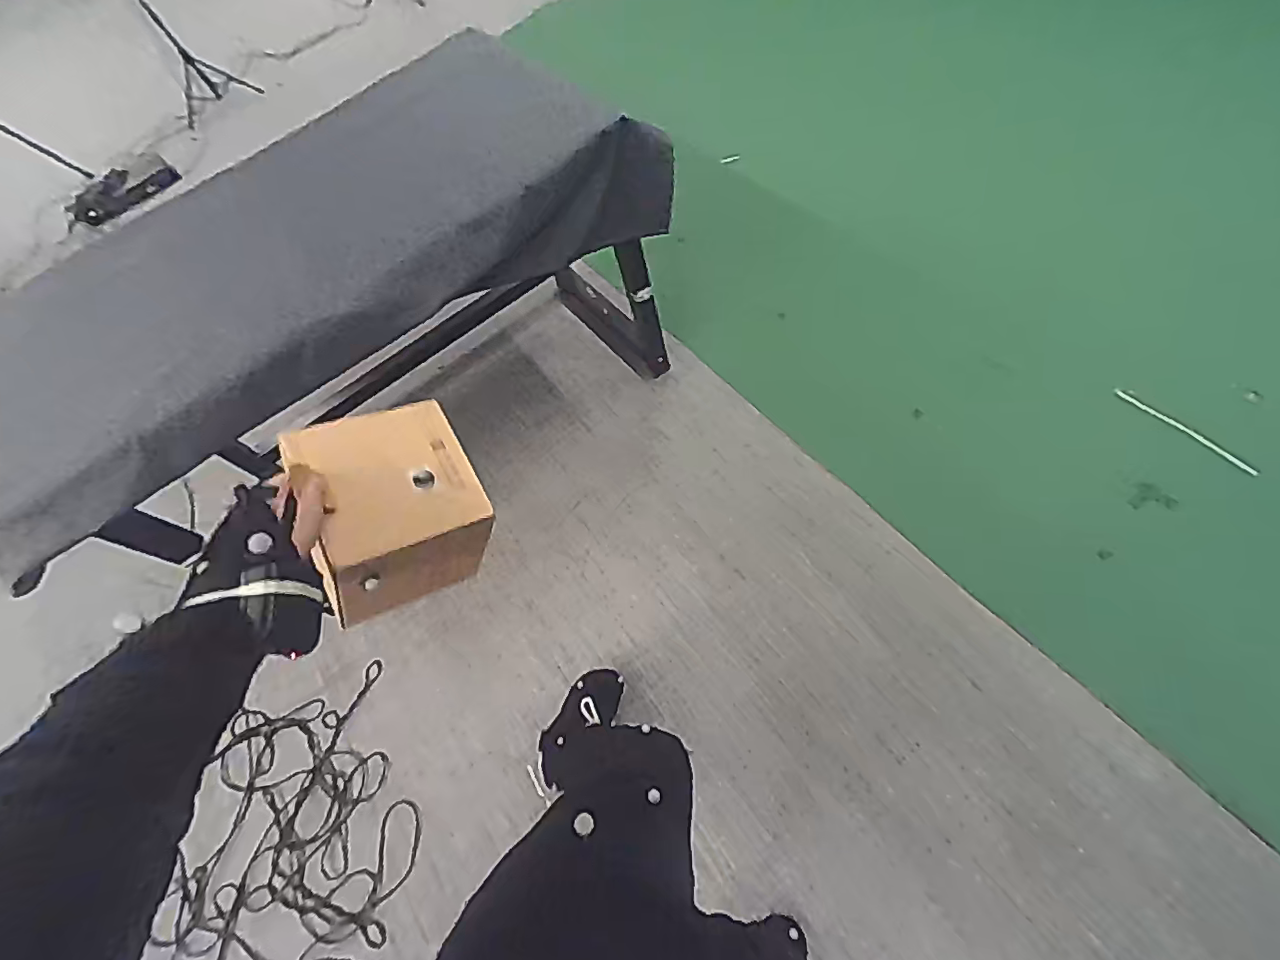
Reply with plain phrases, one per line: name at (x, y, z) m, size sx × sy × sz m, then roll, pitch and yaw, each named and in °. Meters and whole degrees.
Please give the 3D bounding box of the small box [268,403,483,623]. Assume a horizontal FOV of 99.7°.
small box at (-0.300, 0.036, 0.629) m, size 0.176 × 0.179 × 0.168 m, roll -21°, pitch 70°, yaw -35°
